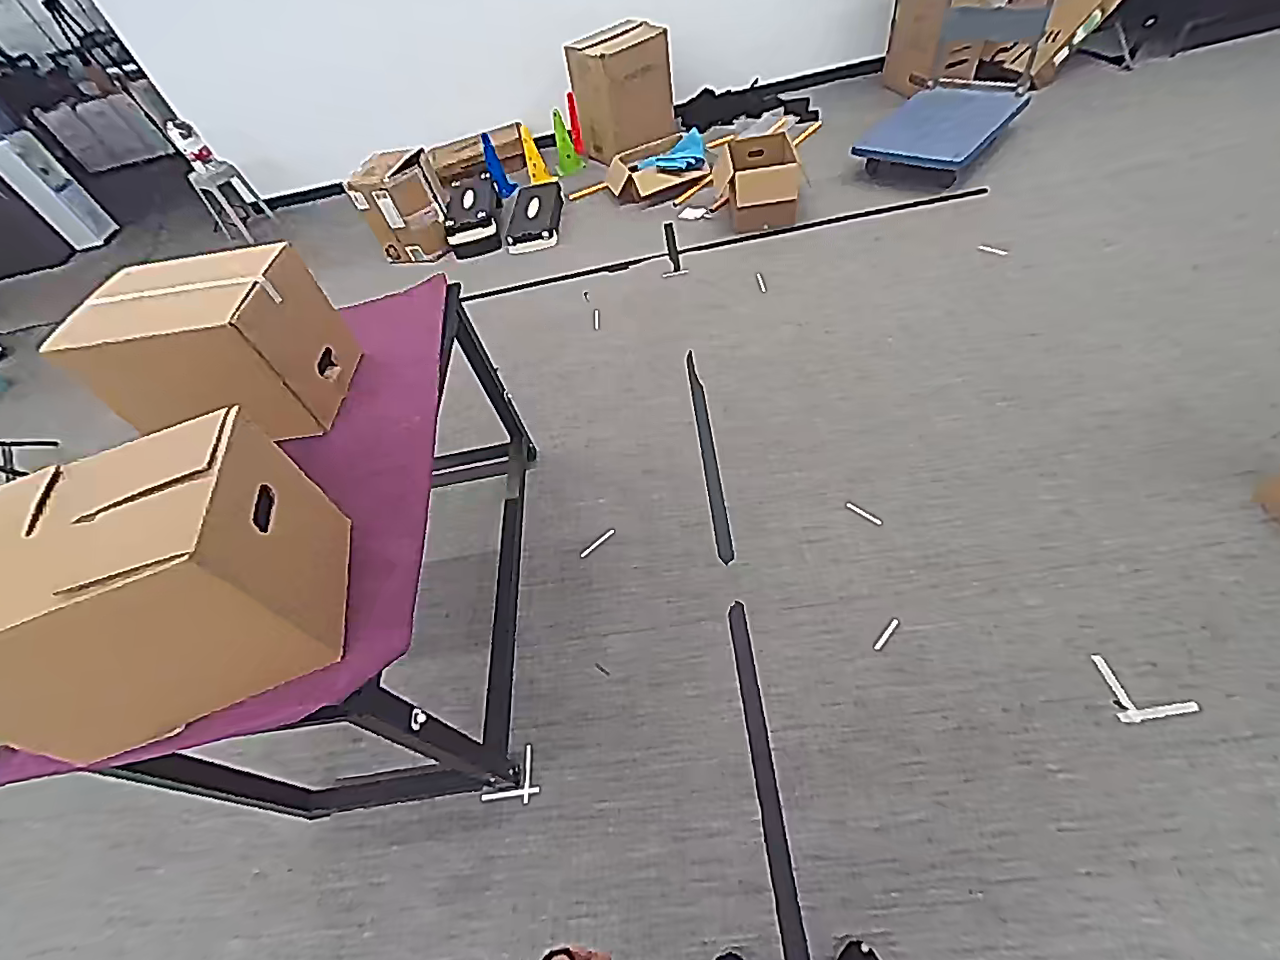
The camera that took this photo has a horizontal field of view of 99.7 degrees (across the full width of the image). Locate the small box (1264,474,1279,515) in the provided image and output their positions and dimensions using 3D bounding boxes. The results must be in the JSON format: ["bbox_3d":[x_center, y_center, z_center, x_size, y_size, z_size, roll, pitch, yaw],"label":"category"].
[{"bbox_3d":[1.799,0.037,1.397,0.179,0.176,0.168,-12,50,3],"label":"small box"}]
